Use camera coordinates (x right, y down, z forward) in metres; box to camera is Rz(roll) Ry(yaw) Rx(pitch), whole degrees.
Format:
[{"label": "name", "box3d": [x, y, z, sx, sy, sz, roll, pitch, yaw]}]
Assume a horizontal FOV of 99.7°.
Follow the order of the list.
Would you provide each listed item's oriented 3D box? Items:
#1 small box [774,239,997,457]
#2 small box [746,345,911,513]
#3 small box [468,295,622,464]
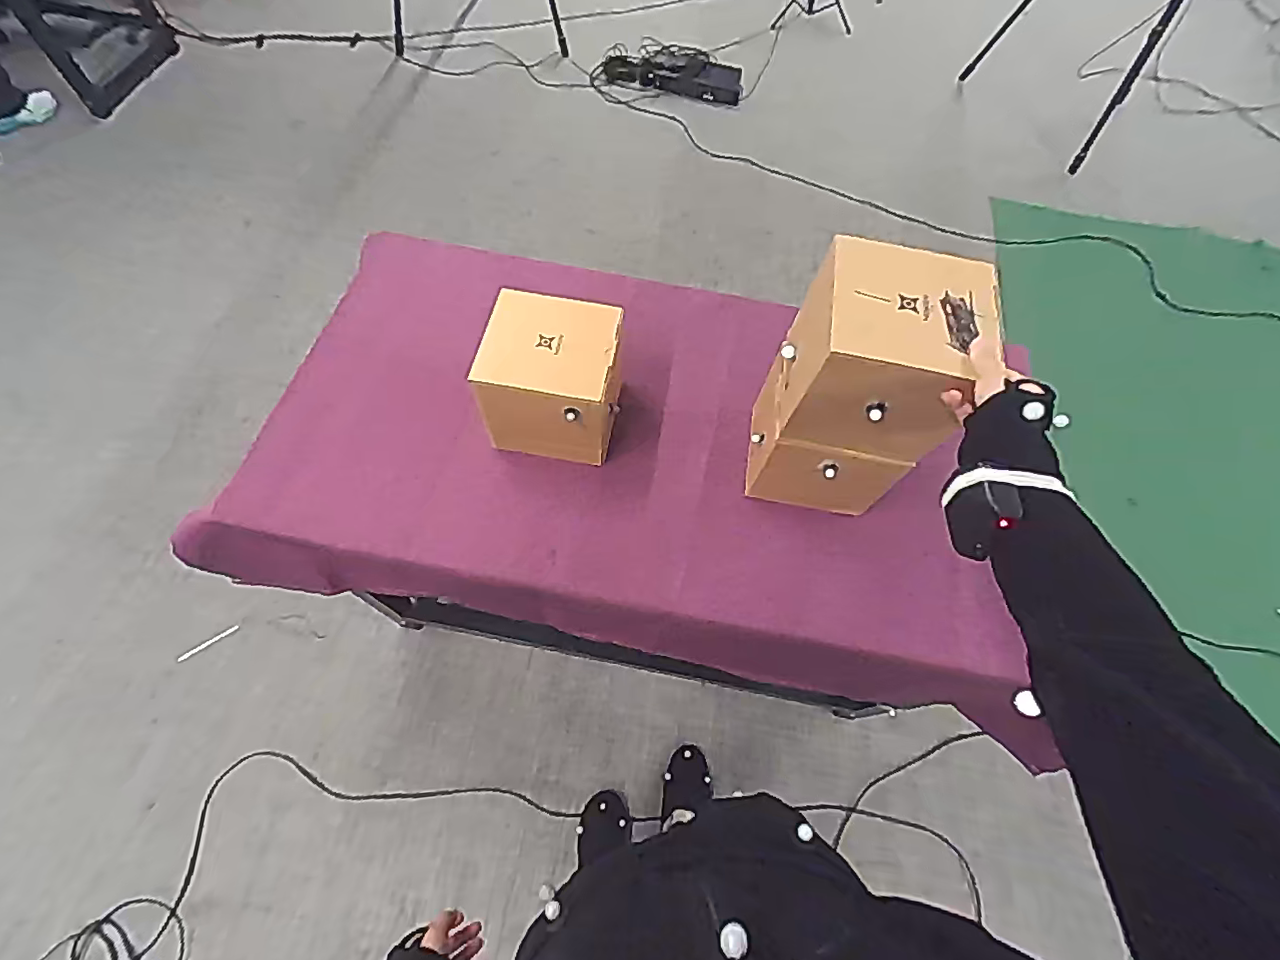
[{"label": "small box", "box3d": [0.269, -0.142, 0.628, 0.179, 0.176, 0.168, 10, 65, 2]}, {"label": "small box", "box3d": [0.258, -0.067, 0.775, 0.179, 0.176, 0.168, 11, 63, 1]}, {"label": "small box", "box3d": [-0.127, -0.139, 0.792, 0.179, 0.176, 0.168, 9, 62, 0]}]
